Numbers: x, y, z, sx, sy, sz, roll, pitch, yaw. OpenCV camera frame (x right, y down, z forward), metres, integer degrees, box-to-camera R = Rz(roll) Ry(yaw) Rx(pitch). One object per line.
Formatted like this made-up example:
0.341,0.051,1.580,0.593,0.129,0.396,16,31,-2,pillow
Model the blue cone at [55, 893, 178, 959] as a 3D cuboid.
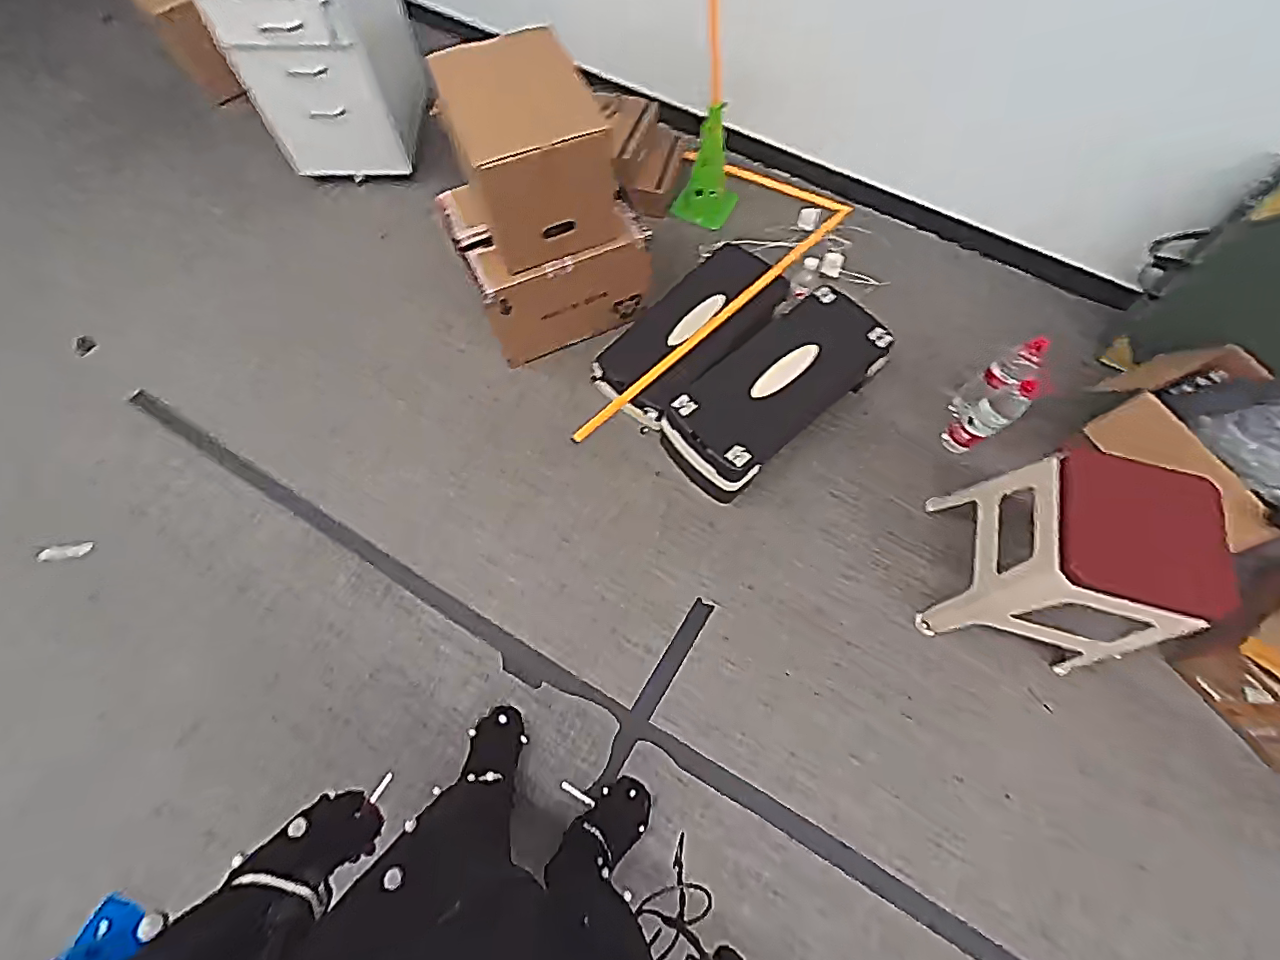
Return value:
-1.063,0.909,0.944,0.192,0.380,0.193,26,69,10,blue cone
